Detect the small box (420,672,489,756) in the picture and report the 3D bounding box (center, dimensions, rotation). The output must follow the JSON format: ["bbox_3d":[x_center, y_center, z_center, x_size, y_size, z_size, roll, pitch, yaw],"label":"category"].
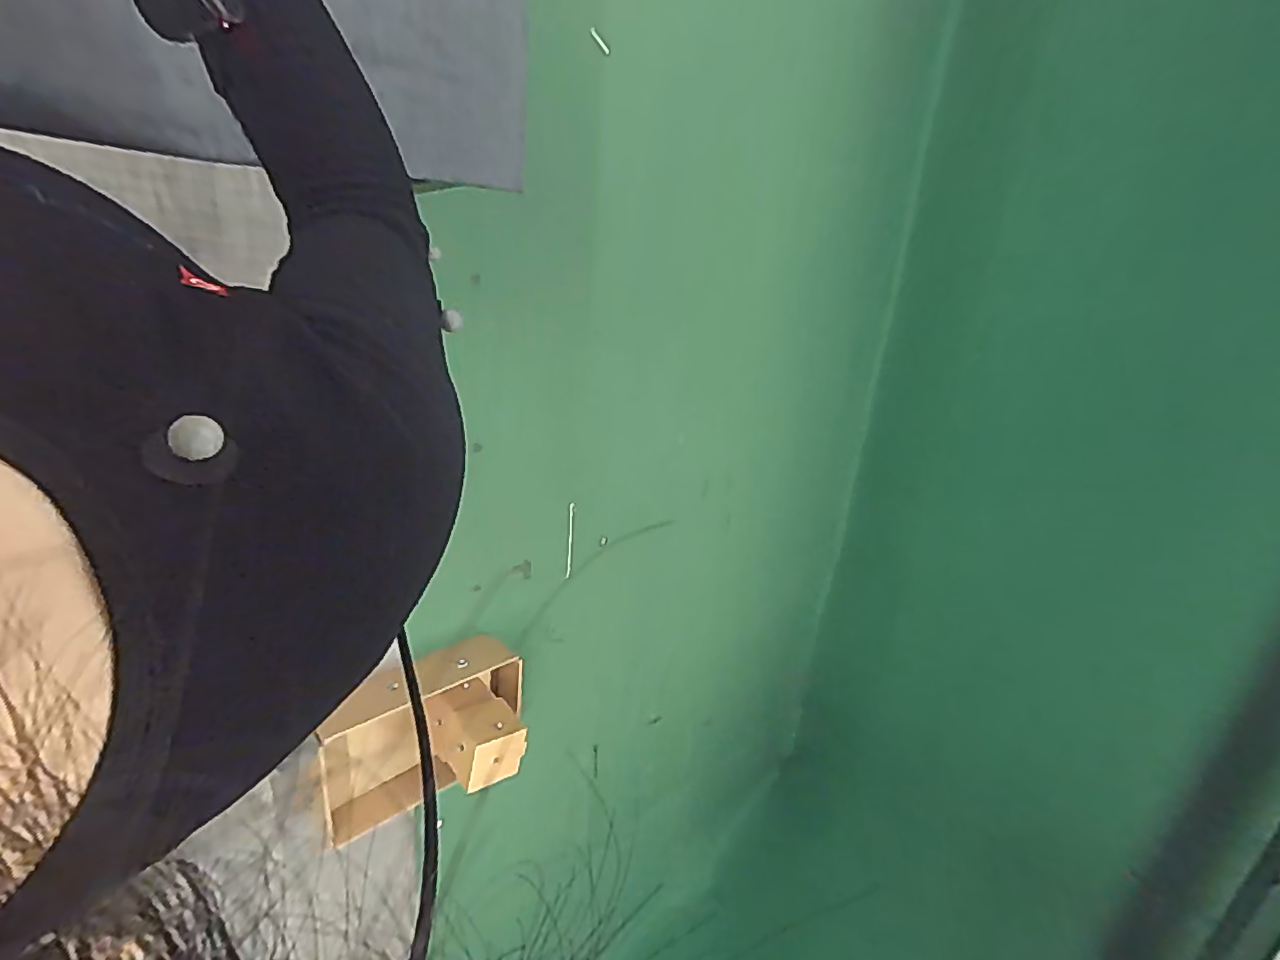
[{"bbox_3d":[-0.608,0.769,1.795,0.168,0.176,0.179,8,102,-47],"label":"small box"}]

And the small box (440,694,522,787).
[{"bbox_3d":[-0.497,0.799,1.678,0.179,0.176,0.168,1,107,-46],"label":"small box"}]
